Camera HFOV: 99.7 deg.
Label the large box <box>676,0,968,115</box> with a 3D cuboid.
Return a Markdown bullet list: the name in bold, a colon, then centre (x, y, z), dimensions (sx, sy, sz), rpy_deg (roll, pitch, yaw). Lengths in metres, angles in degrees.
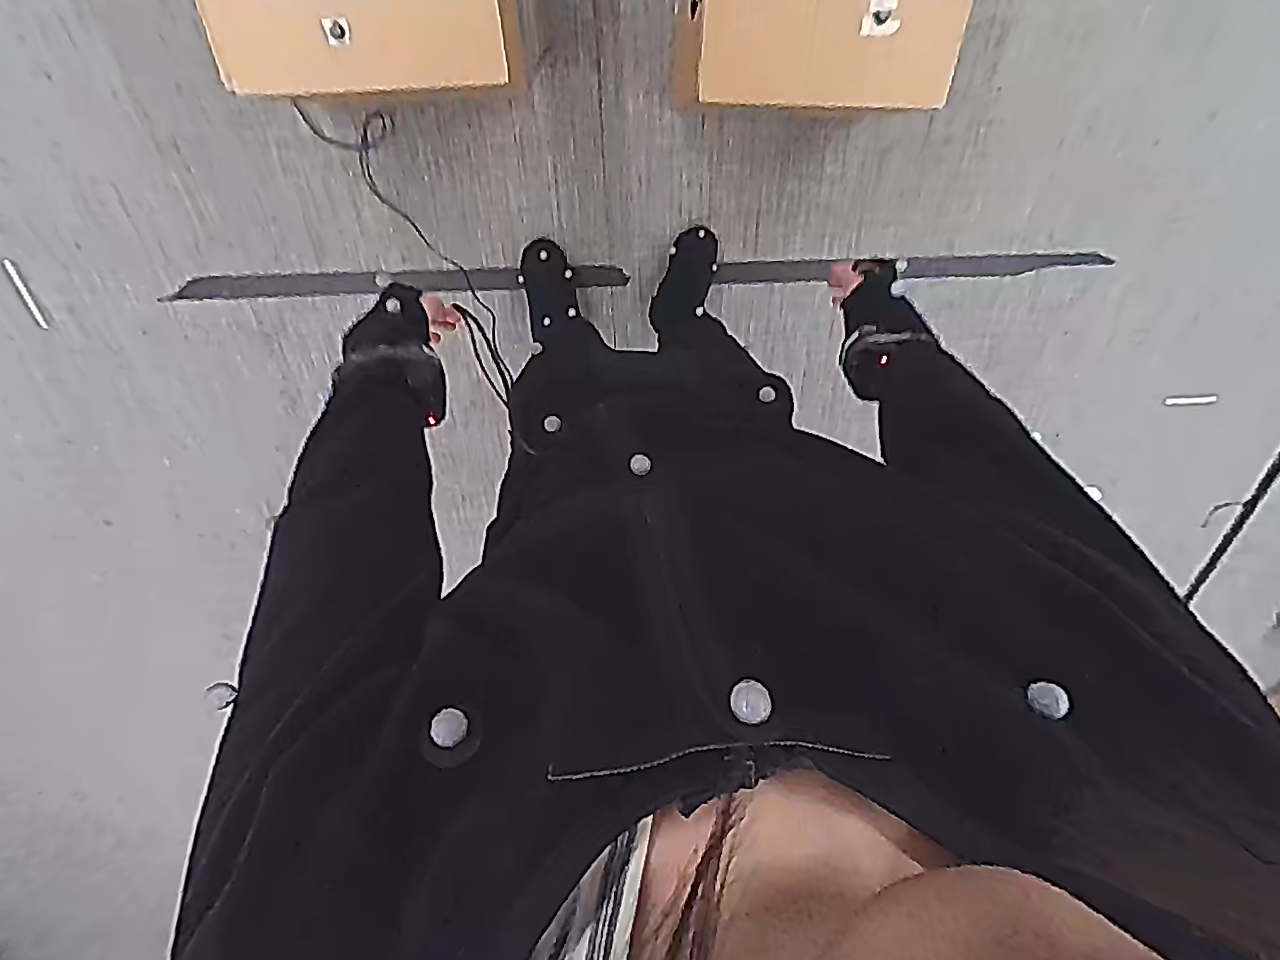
- **large box**: centre (0.281, -0.810, 0.908), dimensions (0.408, 0.320, 0.320), rpy_deg (-2, 122, -5)
